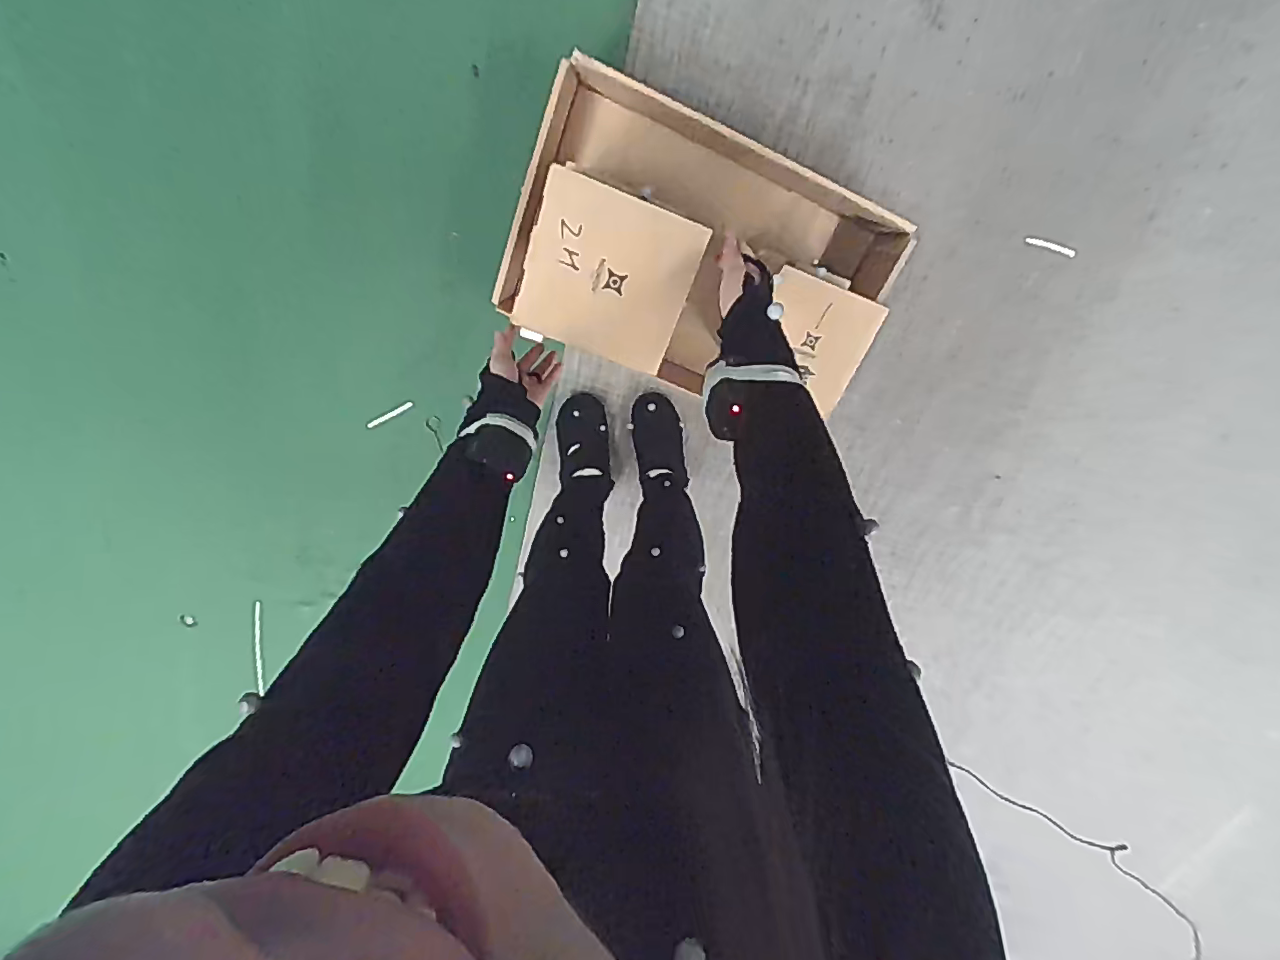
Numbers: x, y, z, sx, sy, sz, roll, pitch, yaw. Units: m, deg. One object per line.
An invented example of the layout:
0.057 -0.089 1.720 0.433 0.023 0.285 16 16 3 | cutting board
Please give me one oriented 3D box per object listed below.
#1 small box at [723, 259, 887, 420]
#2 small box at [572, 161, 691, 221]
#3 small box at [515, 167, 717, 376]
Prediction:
0.239 -0.224 0.840 0.168 0.176 0.179 20 114 -9 | small box
-0.043 -0.334 0.789 0.168 0.176 0.179 20 116 -11 | small box
-0.030 -0.251 0.646 0.179 0.176 0.168 19 115 -10 | small box
